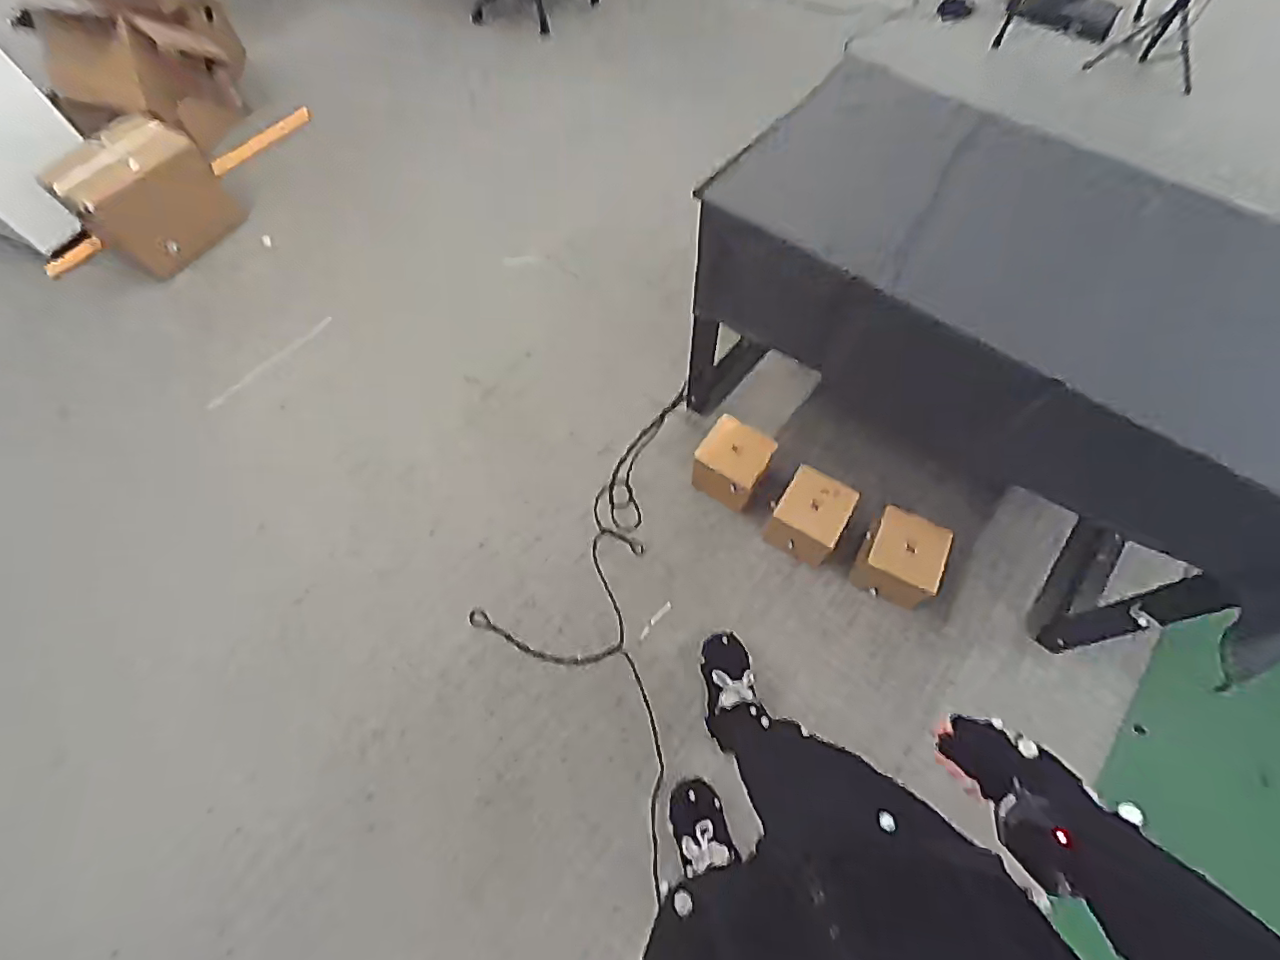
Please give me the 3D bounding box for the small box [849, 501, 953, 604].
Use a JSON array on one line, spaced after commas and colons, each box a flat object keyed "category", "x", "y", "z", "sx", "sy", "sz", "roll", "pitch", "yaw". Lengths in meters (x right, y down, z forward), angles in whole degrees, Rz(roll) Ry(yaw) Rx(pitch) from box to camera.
[{"category": "small box", "x": 0.657, "y": 0.188, "z": 1.378, "sx": 0.168, "sy": 0.176, "sz": 0.179, "roll": 26, "pitch": 67, "yaw": 13}]
